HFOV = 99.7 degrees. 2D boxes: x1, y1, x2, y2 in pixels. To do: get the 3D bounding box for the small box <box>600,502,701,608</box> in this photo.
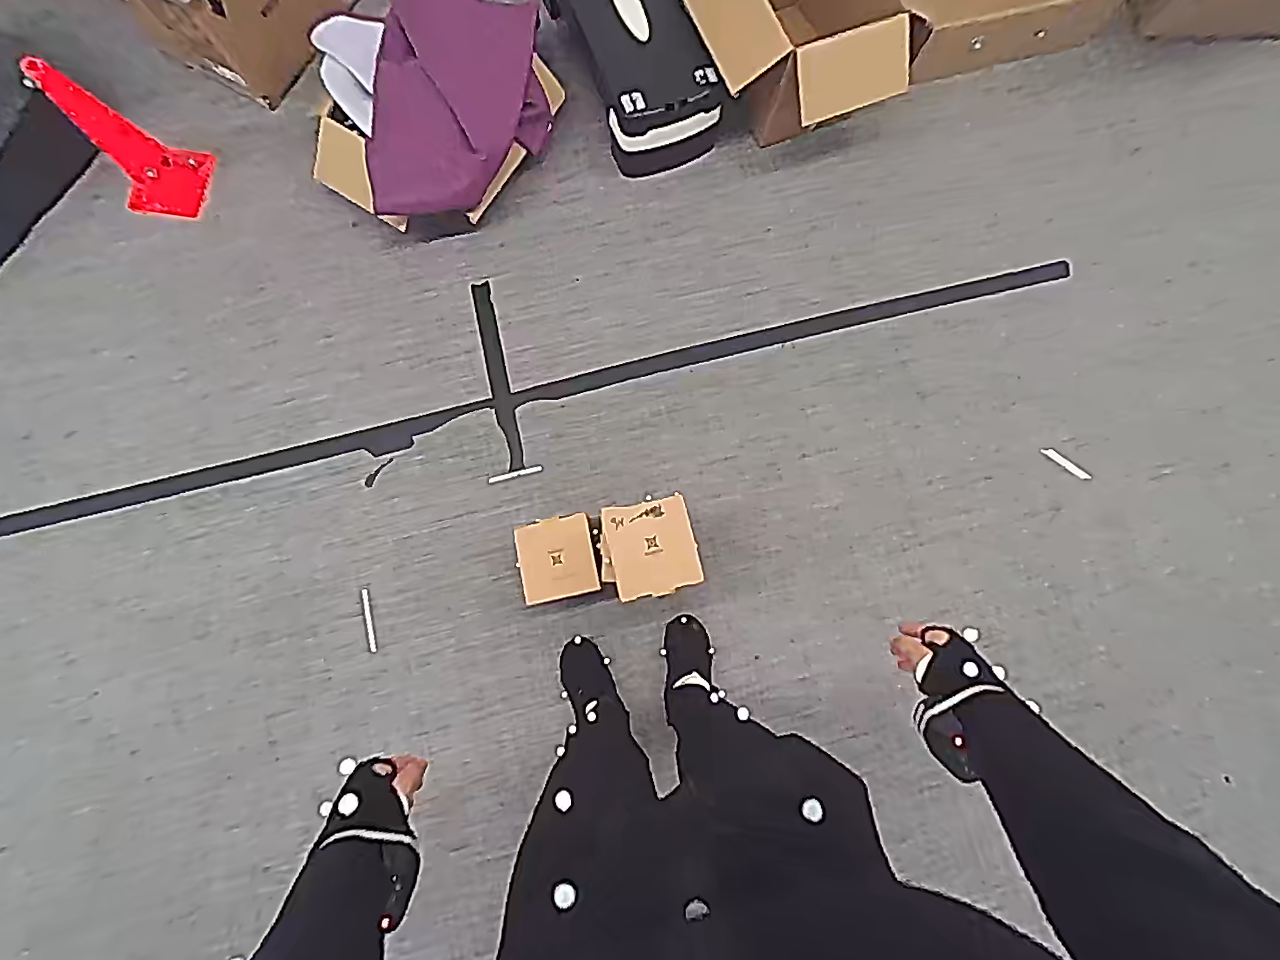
[{"bbox_3d":[0.019,0.153,1.114,0.168,0.176,0.179,-13,82,-4],"label":"small box"}]
